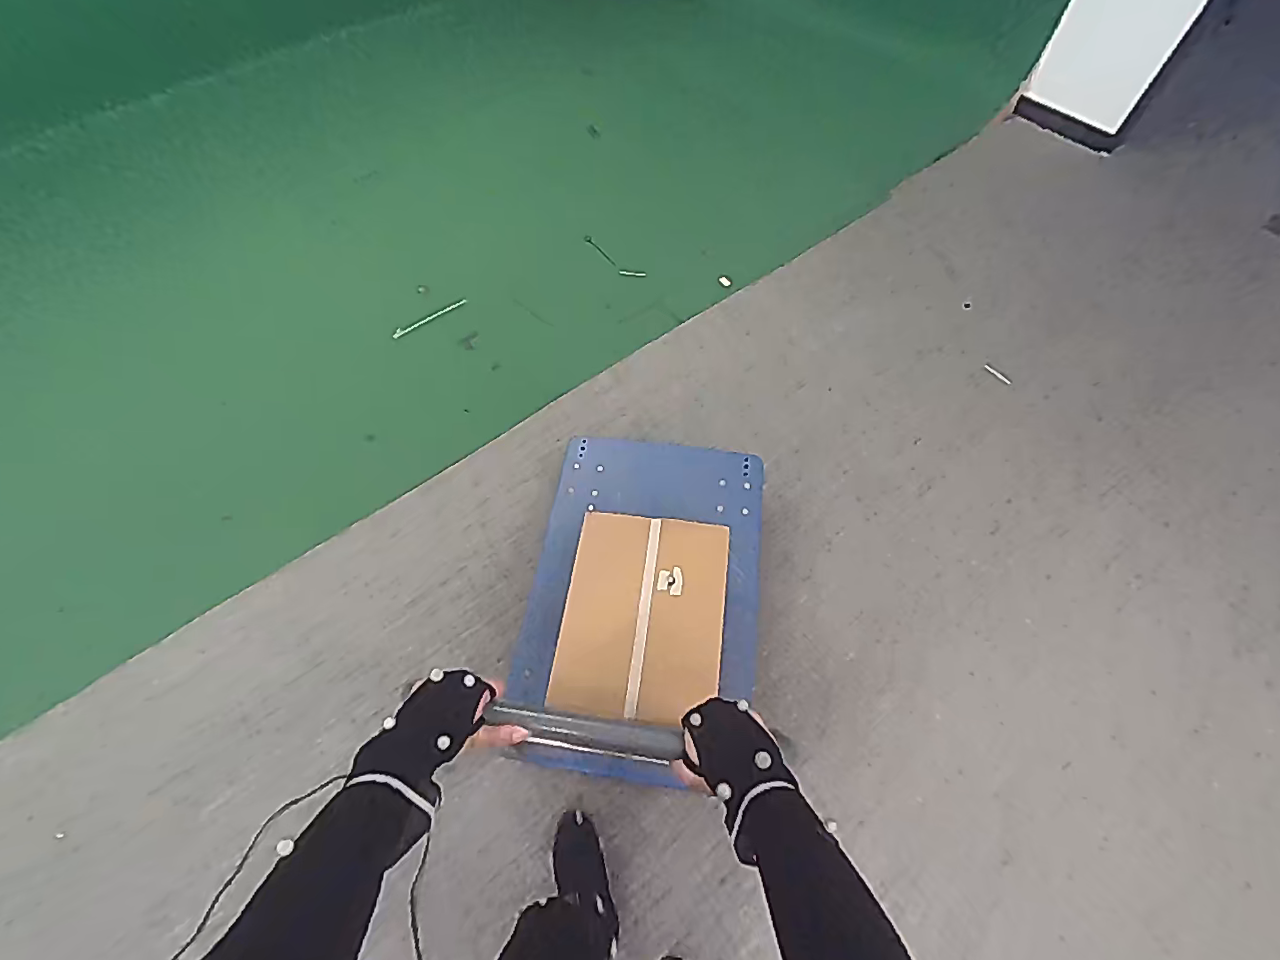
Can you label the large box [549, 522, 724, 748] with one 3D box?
[{"bbox_3d":[0.011,0.353,1.210,0.320,0.320,0.408,6,61,6],"label":"large box"}]
